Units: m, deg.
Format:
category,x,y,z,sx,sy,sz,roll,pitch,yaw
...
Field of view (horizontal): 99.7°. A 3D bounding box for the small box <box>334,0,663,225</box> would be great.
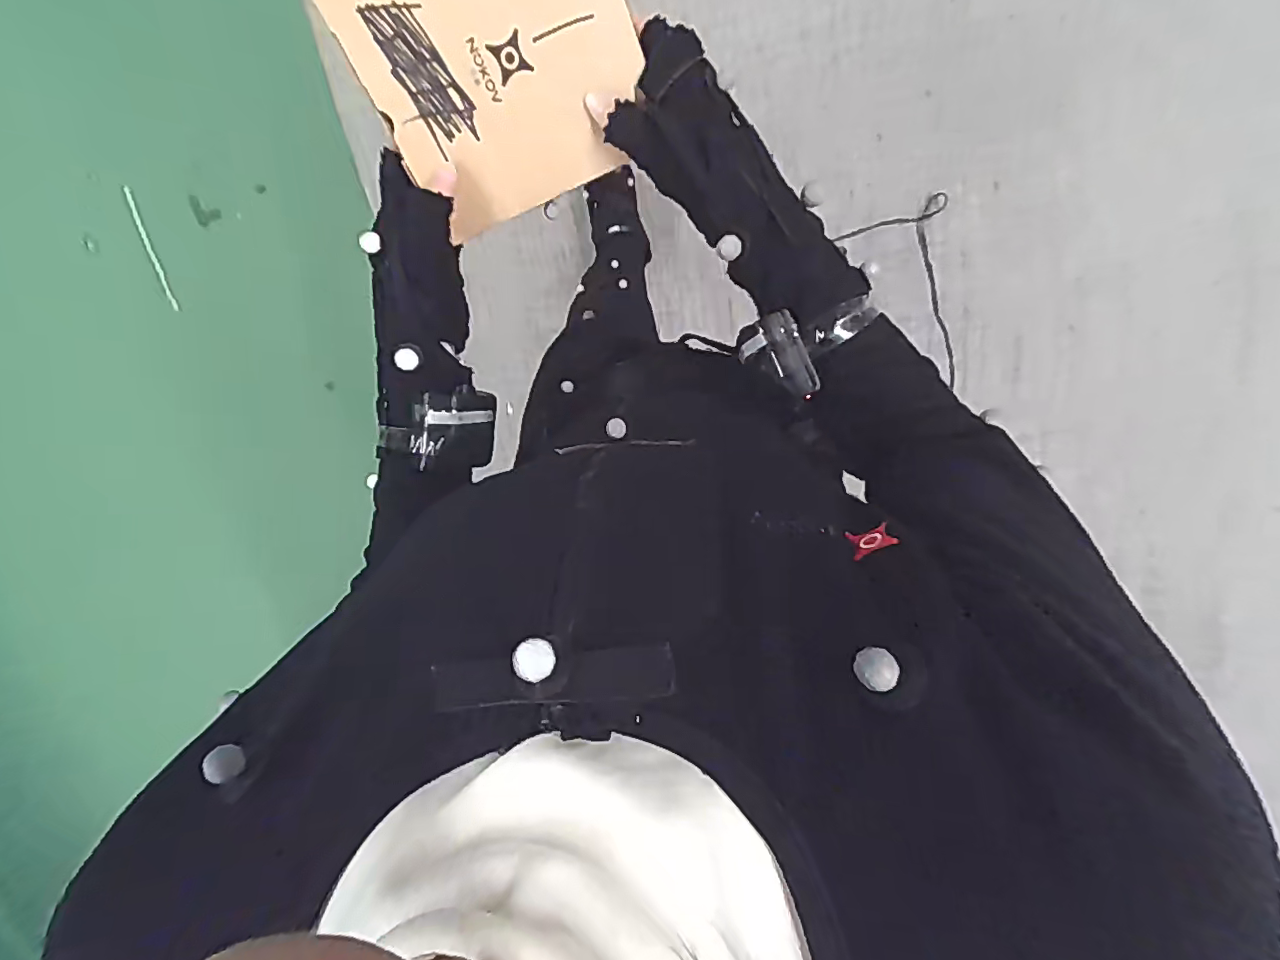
category,x,y,z,sx,sy,sz,roll,pitch,yaw
small box,-0.092,-0.323,0.425,0.179,0.176,0.168,-20,120,9
